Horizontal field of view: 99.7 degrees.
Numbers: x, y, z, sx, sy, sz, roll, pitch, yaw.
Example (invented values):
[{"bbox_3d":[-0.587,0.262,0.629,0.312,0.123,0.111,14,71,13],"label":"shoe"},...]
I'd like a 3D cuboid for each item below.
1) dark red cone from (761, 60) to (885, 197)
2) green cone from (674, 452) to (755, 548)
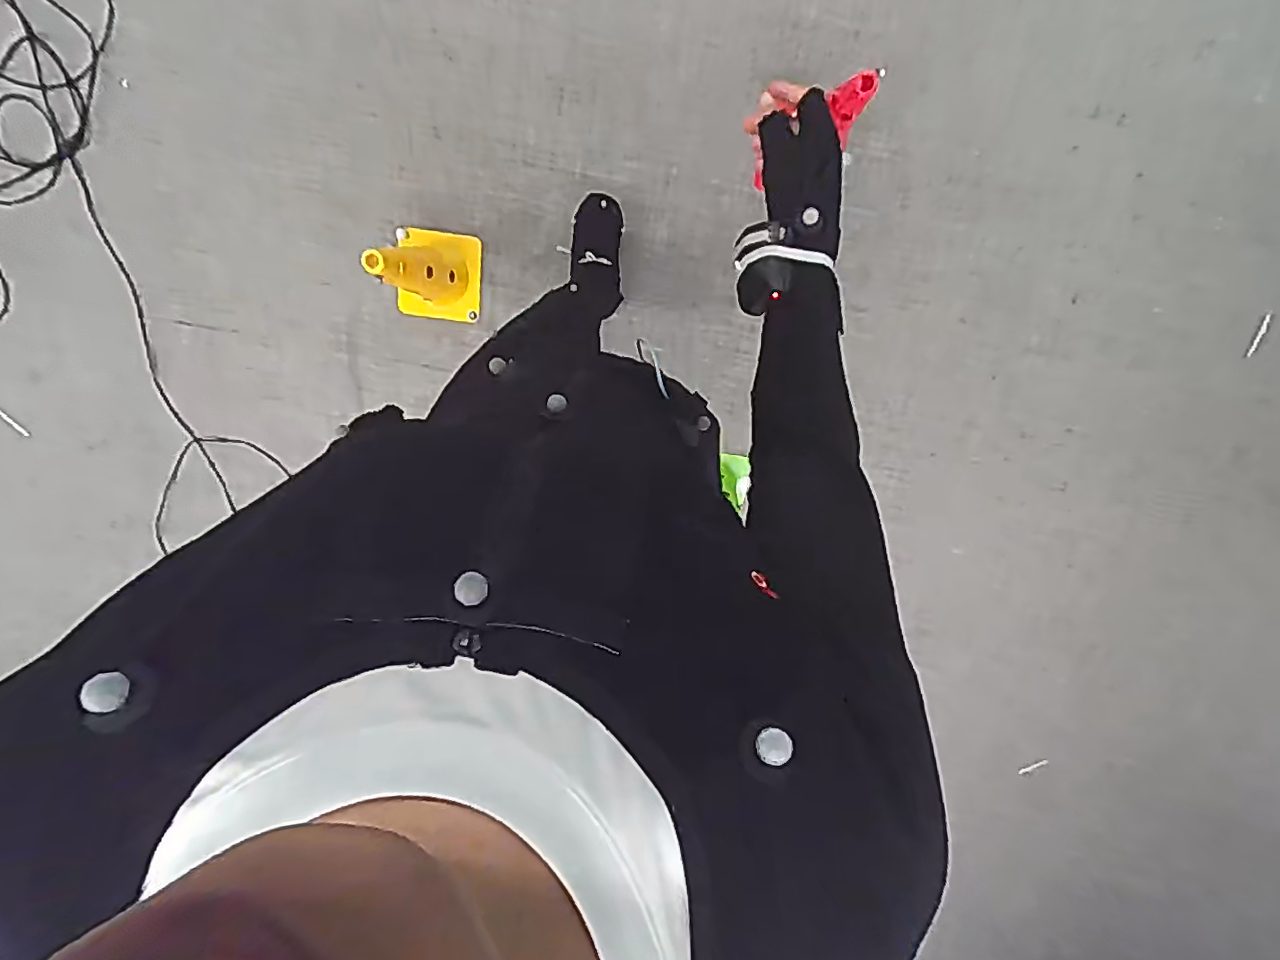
[{"bbox_3d":[0.382,-0.711,1.065,0.202,0.394,0.201,4,105,-2],"label":"dark red cone"},{"bbox_3d":[0.201,0.076,1.321,0.202,0.368,0.200,8,106,-2],"label":"green cone"}]
